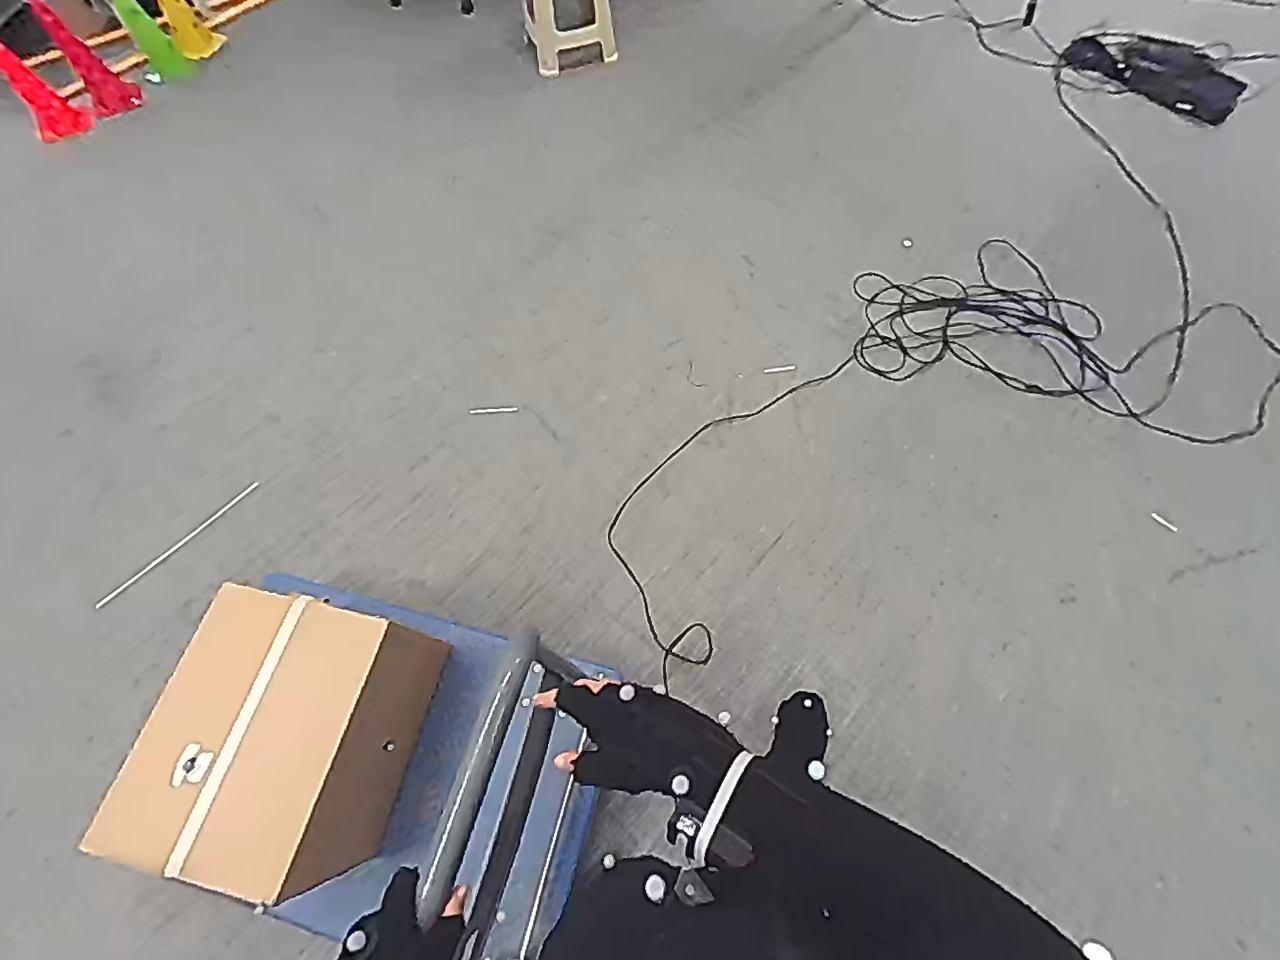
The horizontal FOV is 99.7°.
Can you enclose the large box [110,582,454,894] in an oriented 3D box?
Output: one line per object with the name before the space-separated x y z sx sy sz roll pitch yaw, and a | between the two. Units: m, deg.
large box | -0.590 0.440 0.990 0.320 0.320 0.408 11 67 6
